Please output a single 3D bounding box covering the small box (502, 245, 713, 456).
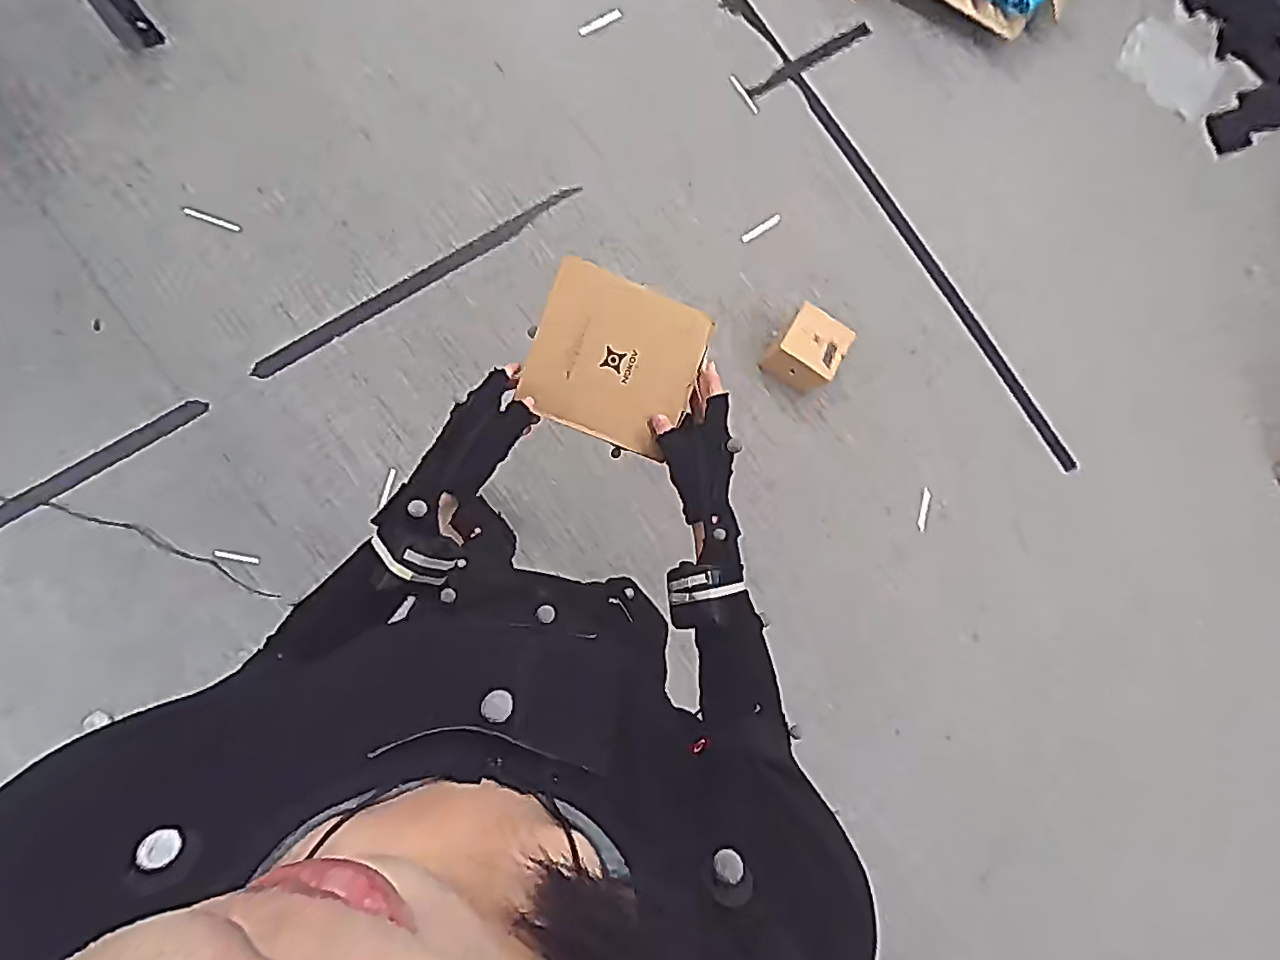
[{"bbox_3d":[-0.043,-0.137,0.629,0.179,0.176,0.168,20,92,-10],"label":"small box"}]

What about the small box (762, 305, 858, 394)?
[{"bbox_3d":[0.490,-0.370,1.581,0.179,0.176,0.168,32,80,-3],"label":"small box"}]
